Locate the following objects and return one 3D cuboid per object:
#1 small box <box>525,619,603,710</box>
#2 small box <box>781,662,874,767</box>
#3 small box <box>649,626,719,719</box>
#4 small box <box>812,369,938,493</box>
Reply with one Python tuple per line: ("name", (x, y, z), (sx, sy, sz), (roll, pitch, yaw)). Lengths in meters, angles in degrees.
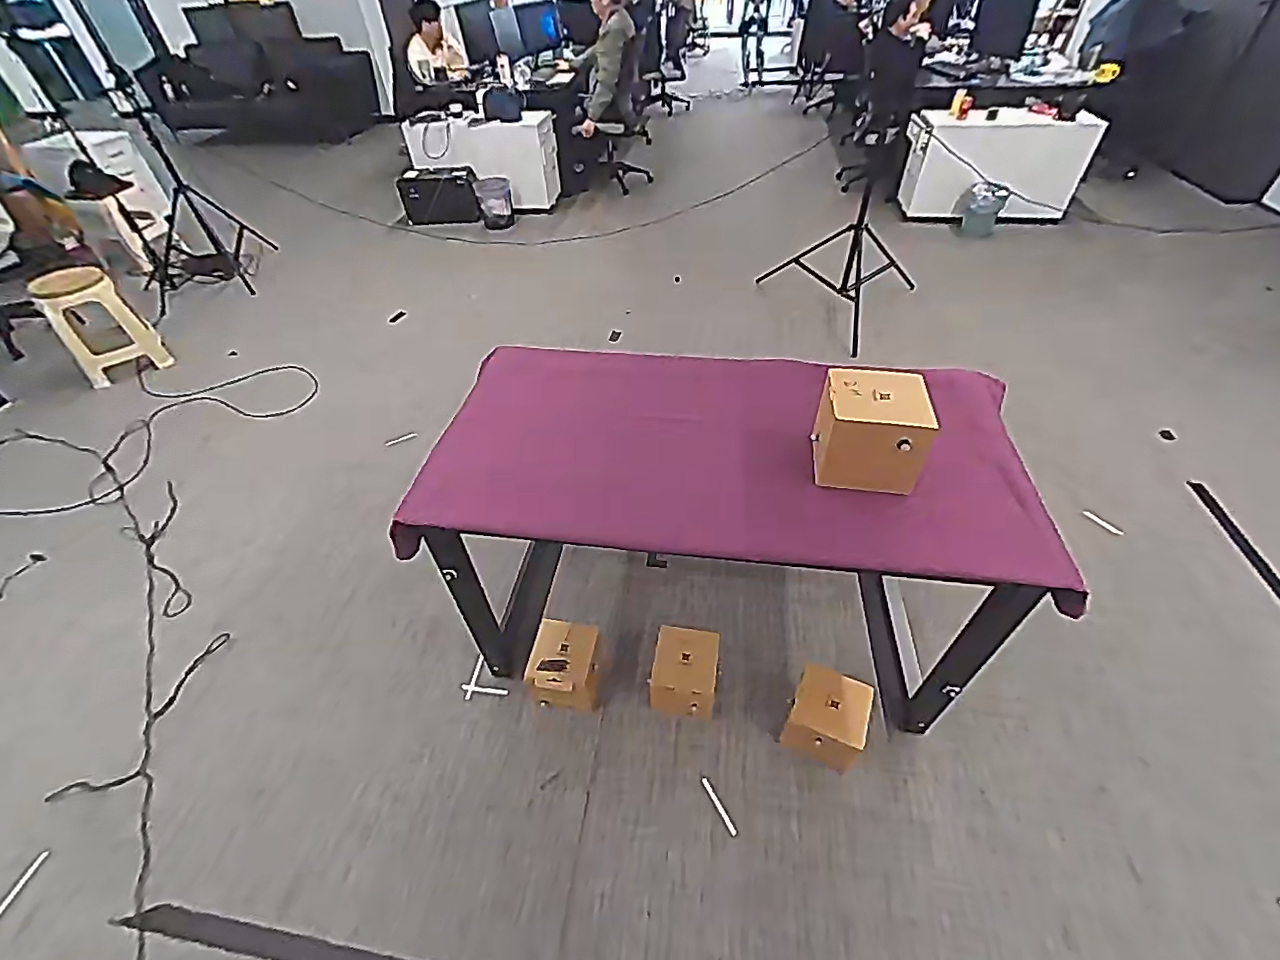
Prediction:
("small box", (-0.202, 0.515, 1.498), (0.168, 0.176, 0.179), (5, 45, 8))
("small box", (0.474, 0.604, 1.382), (0.179, 0.176, 0.168), (16, 49, 20))
("small box", (0.121, 0.527, 1.474), (0.168, 0.176, 0.179), (6, 45, 8))
("small box", (0.441, -0.093, 1.045), (0.179, 0.176, 0.168), (6, 45, 9))
